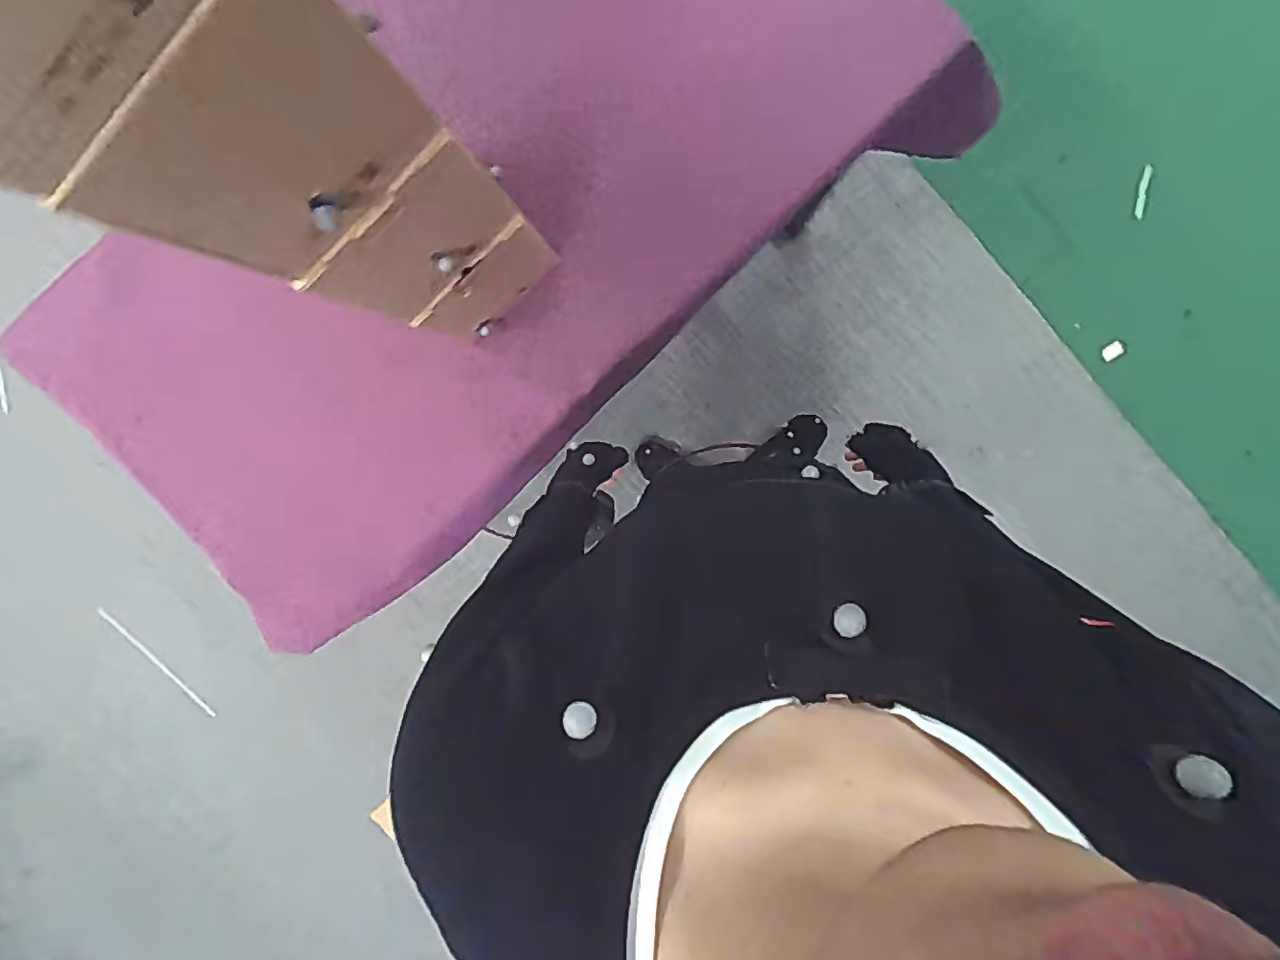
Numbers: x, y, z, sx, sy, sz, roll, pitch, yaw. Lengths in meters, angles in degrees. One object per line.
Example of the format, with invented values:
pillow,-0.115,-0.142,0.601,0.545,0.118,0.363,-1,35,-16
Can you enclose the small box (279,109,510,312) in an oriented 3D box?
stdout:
small box,-0.249,-0.275,0.479,0.168,0.176,0.179,-41,93,9

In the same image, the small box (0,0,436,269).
small box,-0.263,-0.257,0.318,0.168,0.176,0.179,-41,93,9

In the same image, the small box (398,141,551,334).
small box,-0.230,-0.292,0.642,0.168,0.176,0.179,-40,93,8
